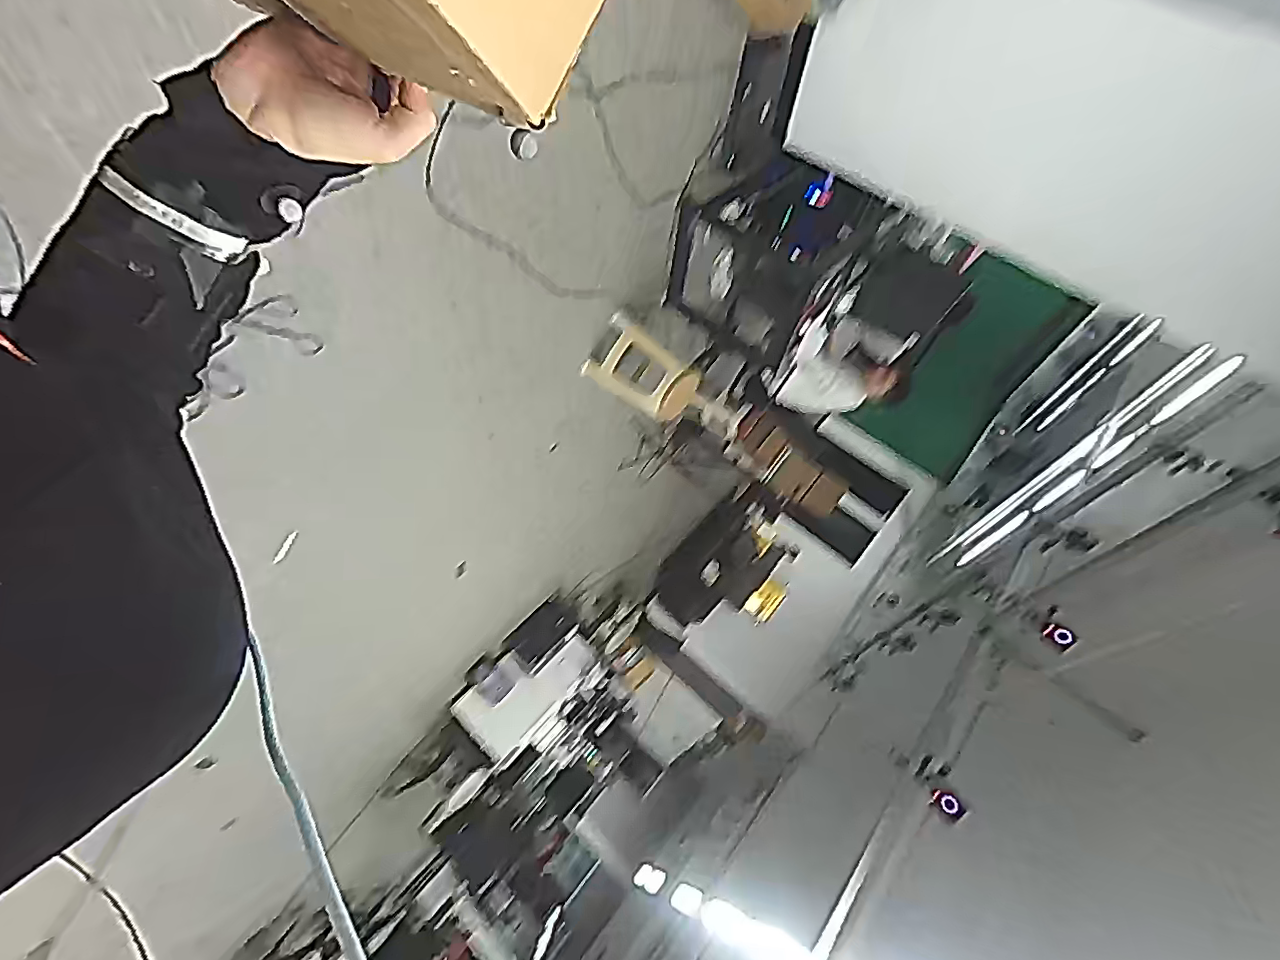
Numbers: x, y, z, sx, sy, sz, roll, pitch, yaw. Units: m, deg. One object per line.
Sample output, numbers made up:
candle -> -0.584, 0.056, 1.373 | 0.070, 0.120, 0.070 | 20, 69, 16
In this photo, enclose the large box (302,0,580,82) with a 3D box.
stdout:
large box -> -0.160, -0.379, 0.071 | 0.320, 0.320, 0.408 | -56, 156, 13
